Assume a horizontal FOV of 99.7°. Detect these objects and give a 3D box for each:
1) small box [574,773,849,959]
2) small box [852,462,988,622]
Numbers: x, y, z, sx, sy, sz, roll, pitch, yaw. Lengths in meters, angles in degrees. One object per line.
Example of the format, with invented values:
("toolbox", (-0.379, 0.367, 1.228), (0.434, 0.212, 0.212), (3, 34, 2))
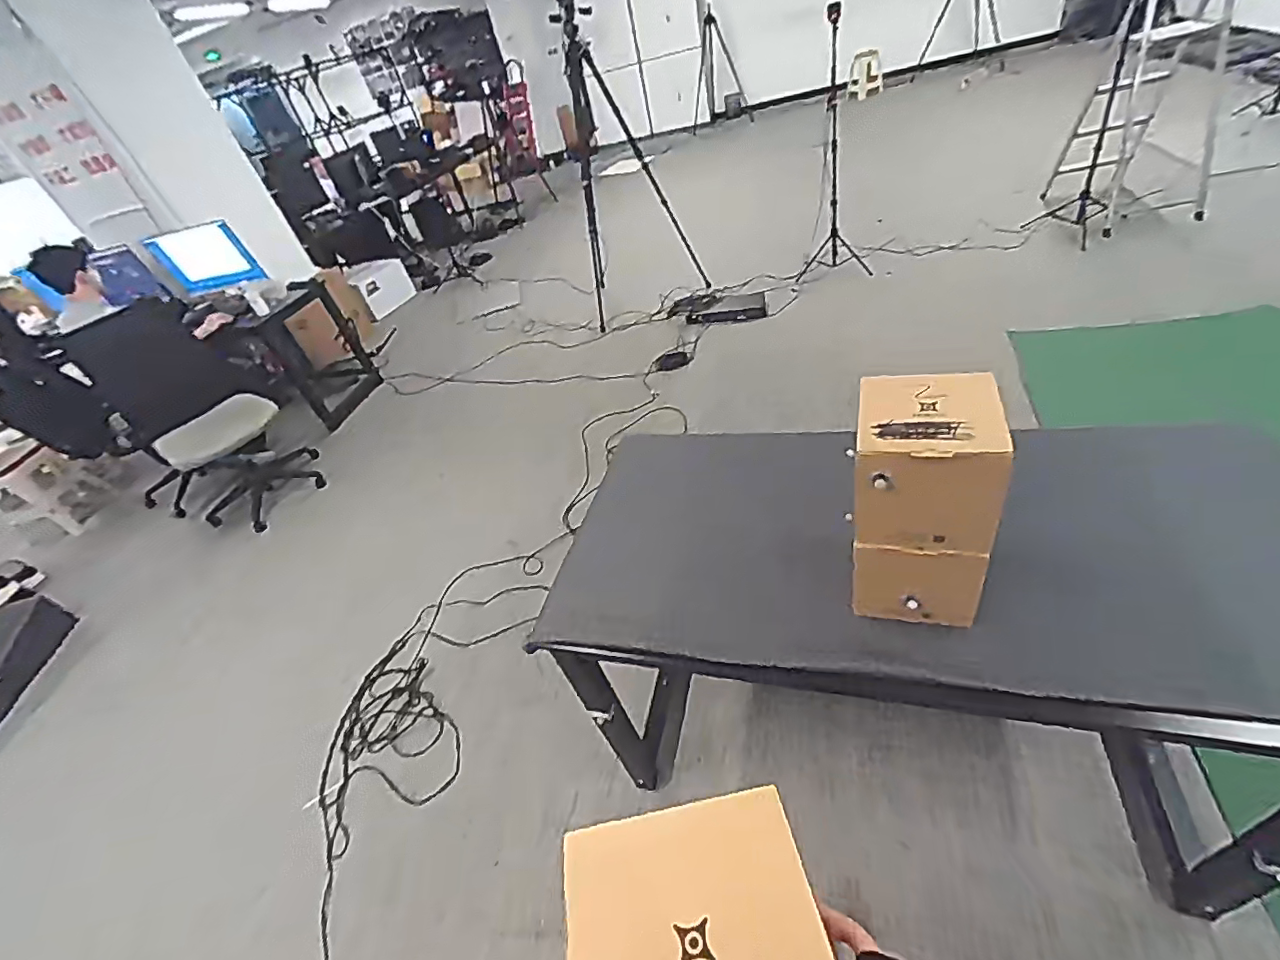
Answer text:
("small box", (0.051, 0.349, 0.379), (0.168, 0.176, 0.179), (-12, 33, -2))
("small box", (0.421, 0.092, 0.840), (0.168, 0.176, 0.179), (1, 43, 22))
